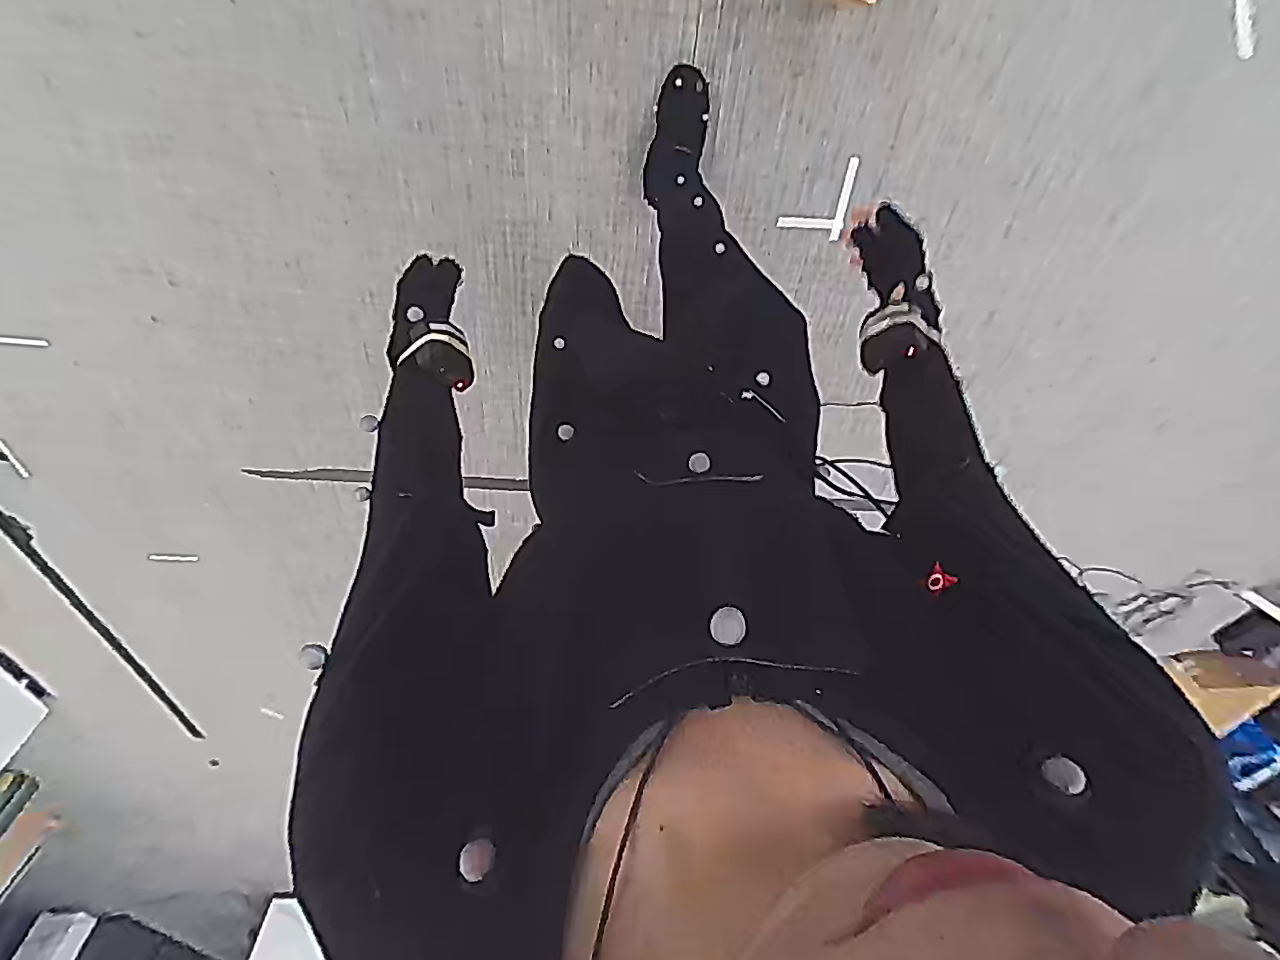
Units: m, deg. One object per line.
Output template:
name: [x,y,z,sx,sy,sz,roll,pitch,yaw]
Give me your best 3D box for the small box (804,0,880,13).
small box: [0.329,-0.913,0.902,0.179,0.176,0.168,10,127,-13]
